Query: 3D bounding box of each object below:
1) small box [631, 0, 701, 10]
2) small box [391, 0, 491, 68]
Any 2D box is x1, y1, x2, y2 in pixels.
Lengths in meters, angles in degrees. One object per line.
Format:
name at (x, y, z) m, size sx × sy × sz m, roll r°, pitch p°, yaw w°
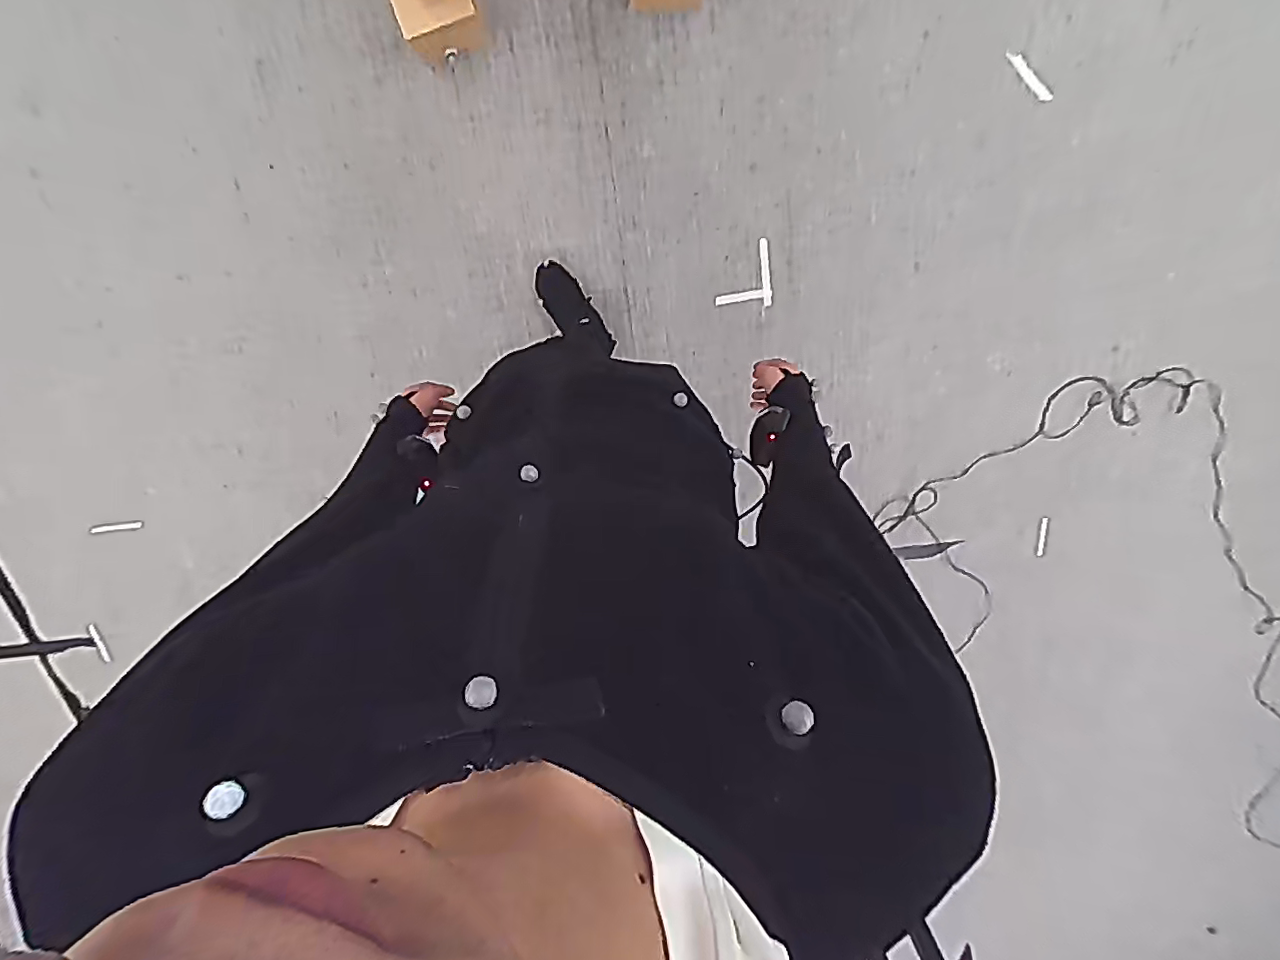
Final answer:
small box at (0.061, -1.165, 1.177) m, size 0.179 × 0.176 × 0.168 m, roll -6°, pitch 109°, yaw -1°
small box at (-0.448, -1.061, 1.190) m, size 0.168 × 0.176 × 0.179 m, roll -17°, pitch 109°, yaw 4°
